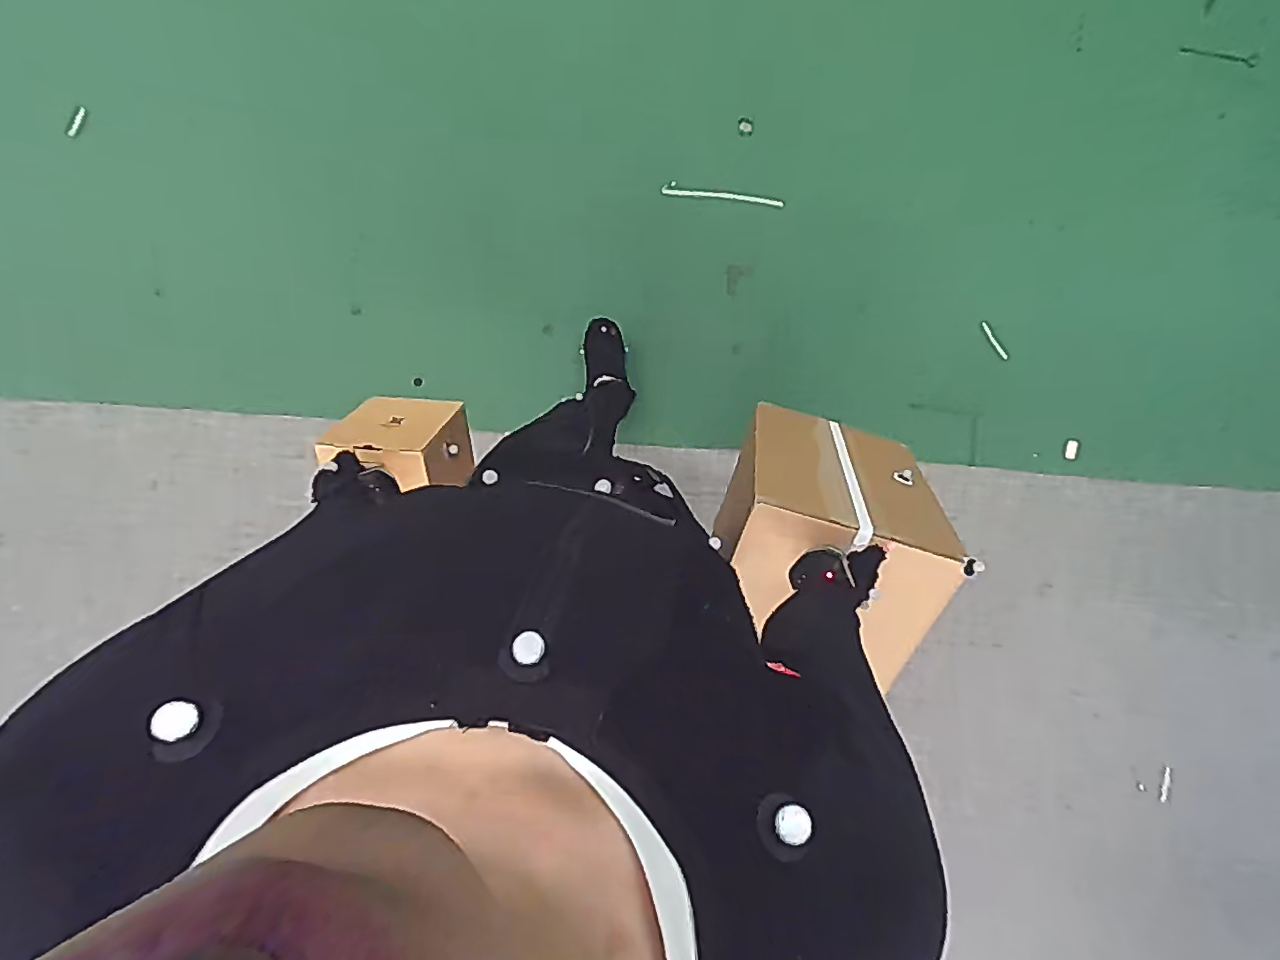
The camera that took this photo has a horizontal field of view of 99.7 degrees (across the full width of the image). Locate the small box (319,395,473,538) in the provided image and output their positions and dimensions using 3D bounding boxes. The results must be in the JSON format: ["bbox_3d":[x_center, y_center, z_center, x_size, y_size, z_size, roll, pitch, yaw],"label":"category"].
[{"bbox_3d":[-0.390,-0.026,0.903,0.168,0.179,0.176,4,122,3],"label":"small box"}]
